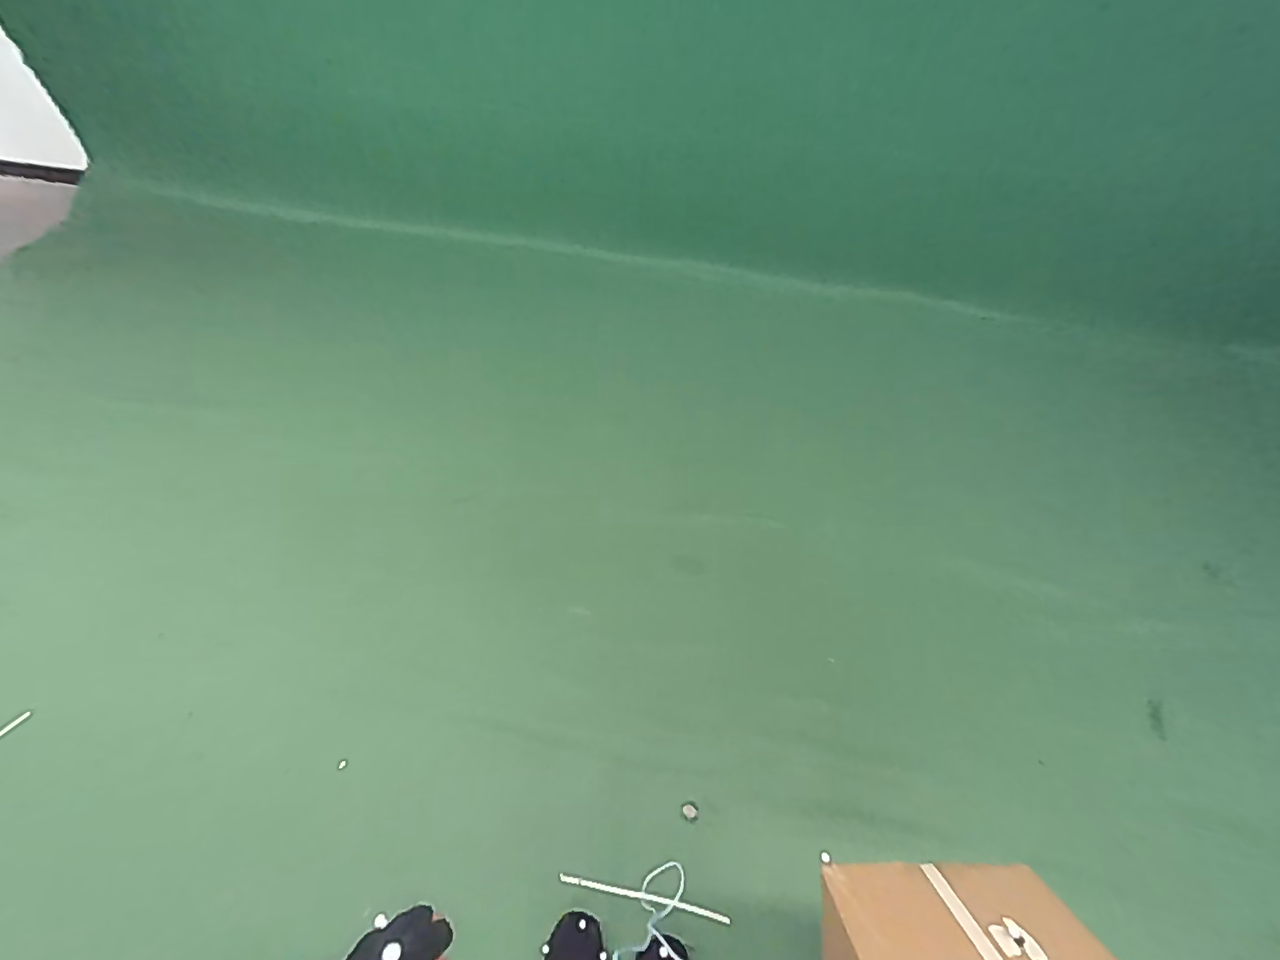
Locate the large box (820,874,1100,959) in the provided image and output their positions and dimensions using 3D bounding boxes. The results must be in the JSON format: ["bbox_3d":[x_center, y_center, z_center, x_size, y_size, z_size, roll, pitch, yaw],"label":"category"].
[{"bbox_3d":[0.423,0.749,0.614,0.320,0.408,0.320,0,90,1],"label":"large box"}]
